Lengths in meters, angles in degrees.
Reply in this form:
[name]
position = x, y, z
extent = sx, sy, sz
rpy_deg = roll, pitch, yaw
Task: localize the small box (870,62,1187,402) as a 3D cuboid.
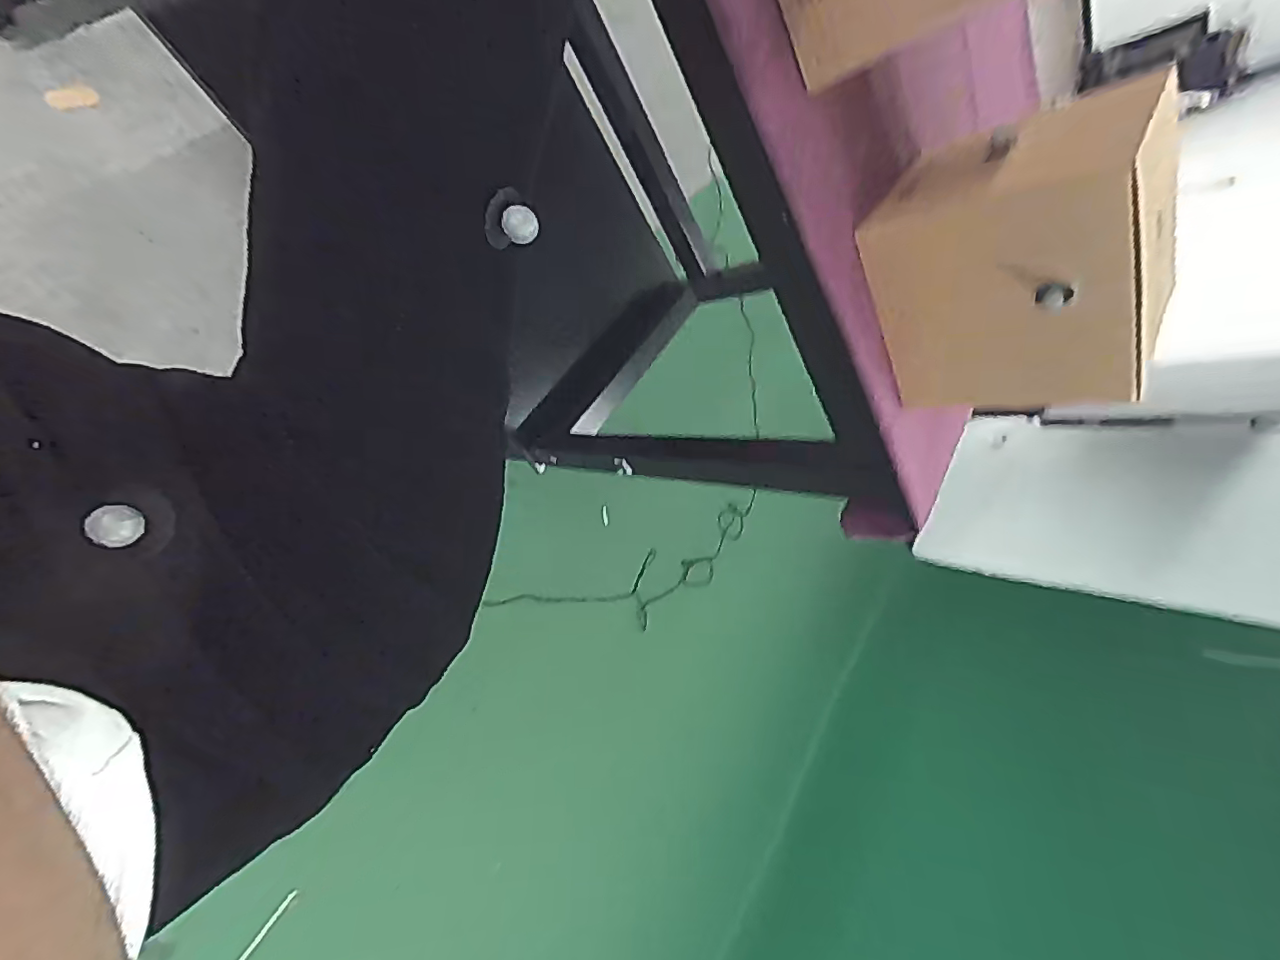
[small box]
position = 0.309, -0.176, 0.434
extent = 0.168, 0.176, 0.179
rpy_deg = -48, 123, -26
